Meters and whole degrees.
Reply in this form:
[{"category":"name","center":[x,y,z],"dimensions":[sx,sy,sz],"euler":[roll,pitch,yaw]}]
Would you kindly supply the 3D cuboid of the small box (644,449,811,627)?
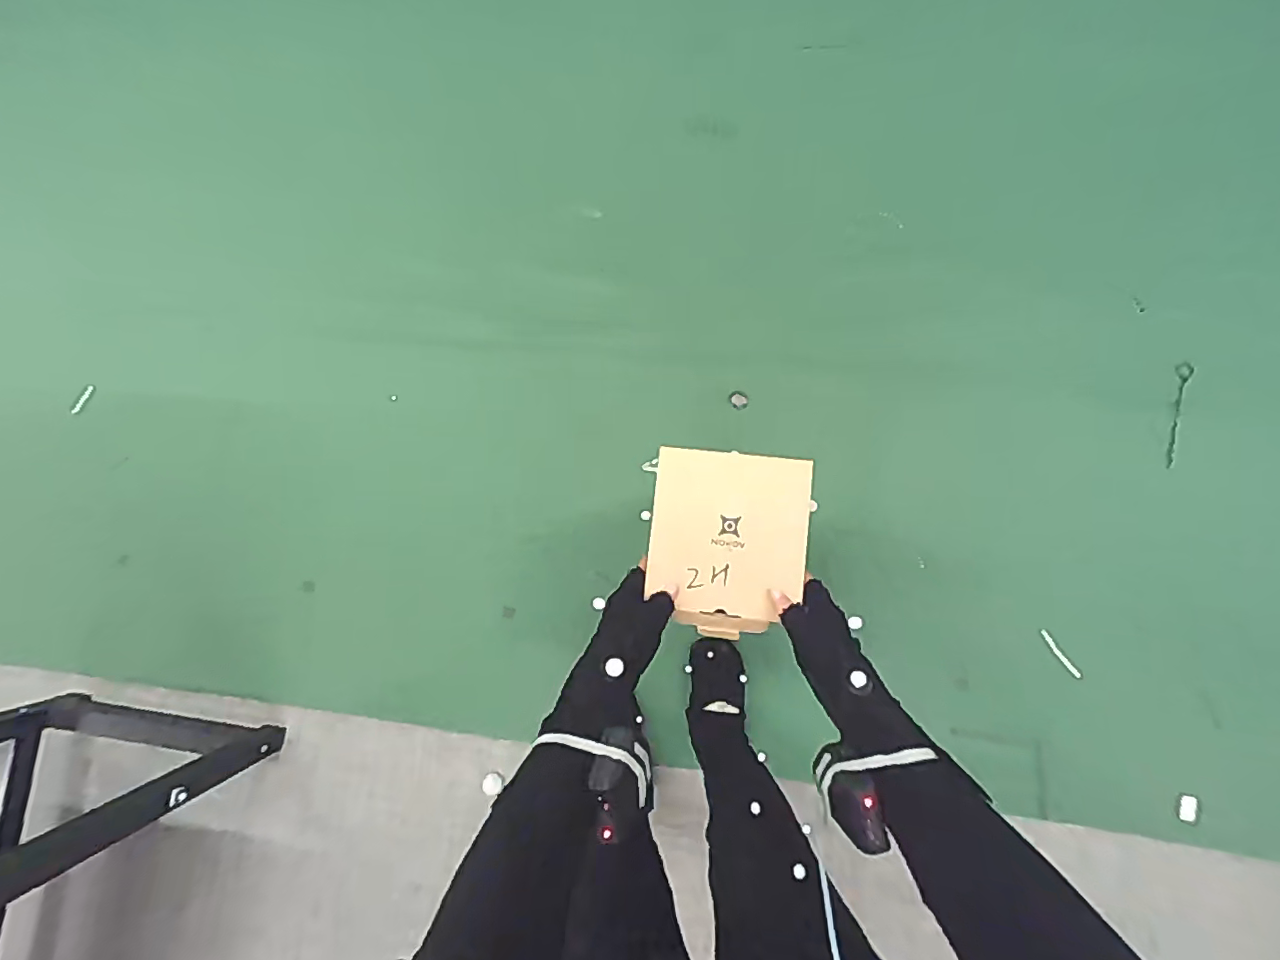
[{"category":"small box","center":[0.099,0.068,0.658],"dimensions":[0.168,0.176,0.179],"euler":[6,85,5]}]
